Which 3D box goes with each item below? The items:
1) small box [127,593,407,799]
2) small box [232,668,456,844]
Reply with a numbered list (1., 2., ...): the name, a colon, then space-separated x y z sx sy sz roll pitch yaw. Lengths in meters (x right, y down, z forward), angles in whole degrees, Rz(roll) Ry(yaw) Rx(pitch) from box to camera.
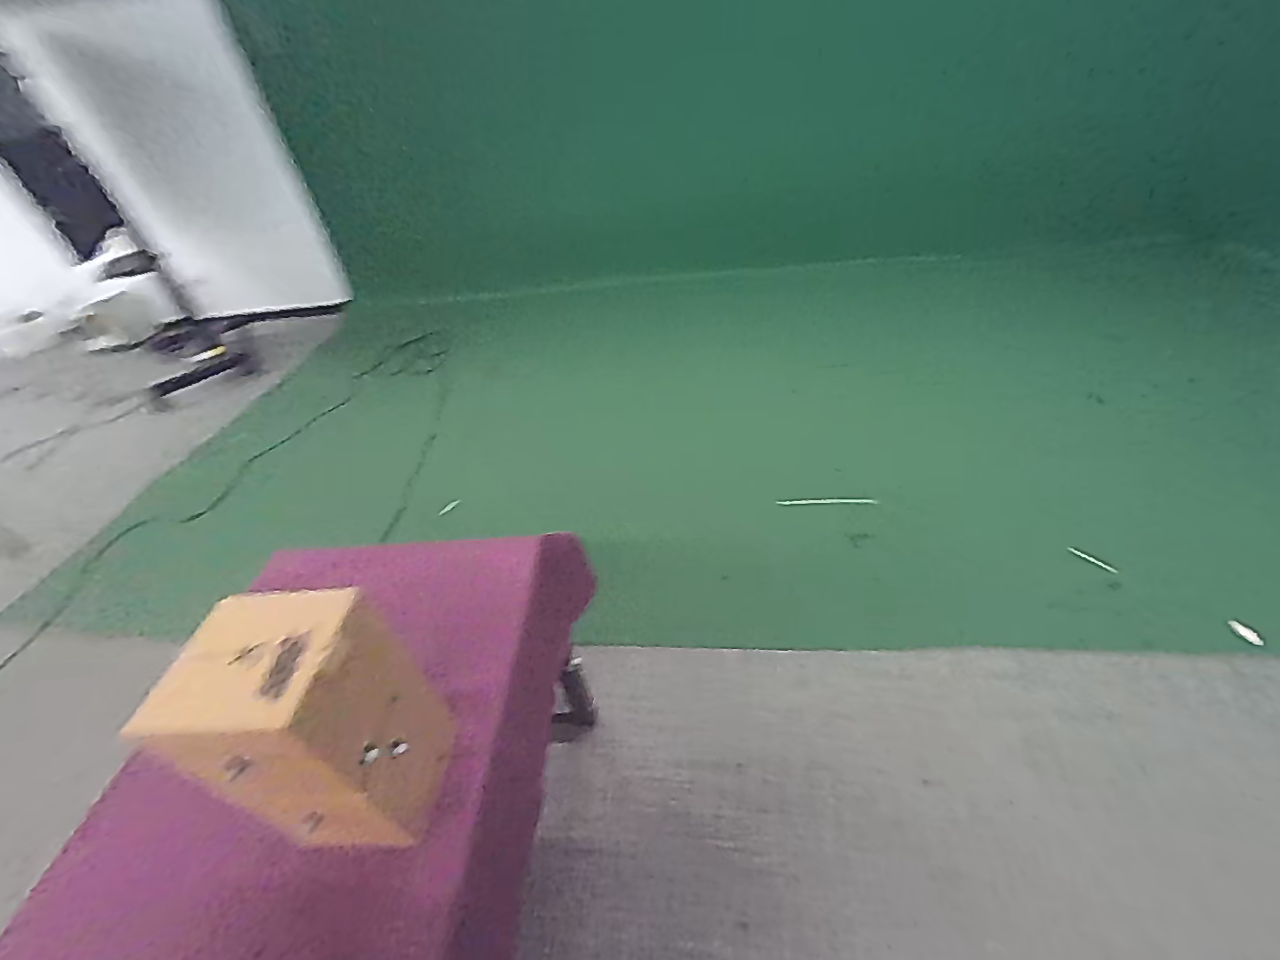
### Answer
1. small box: -0.404 0.252 0.629 0.179 0.176 0.168 -5 40 6
2. small box: -0.381 0.377 0.735 0.179 0.176 0.168 -5 42 7
